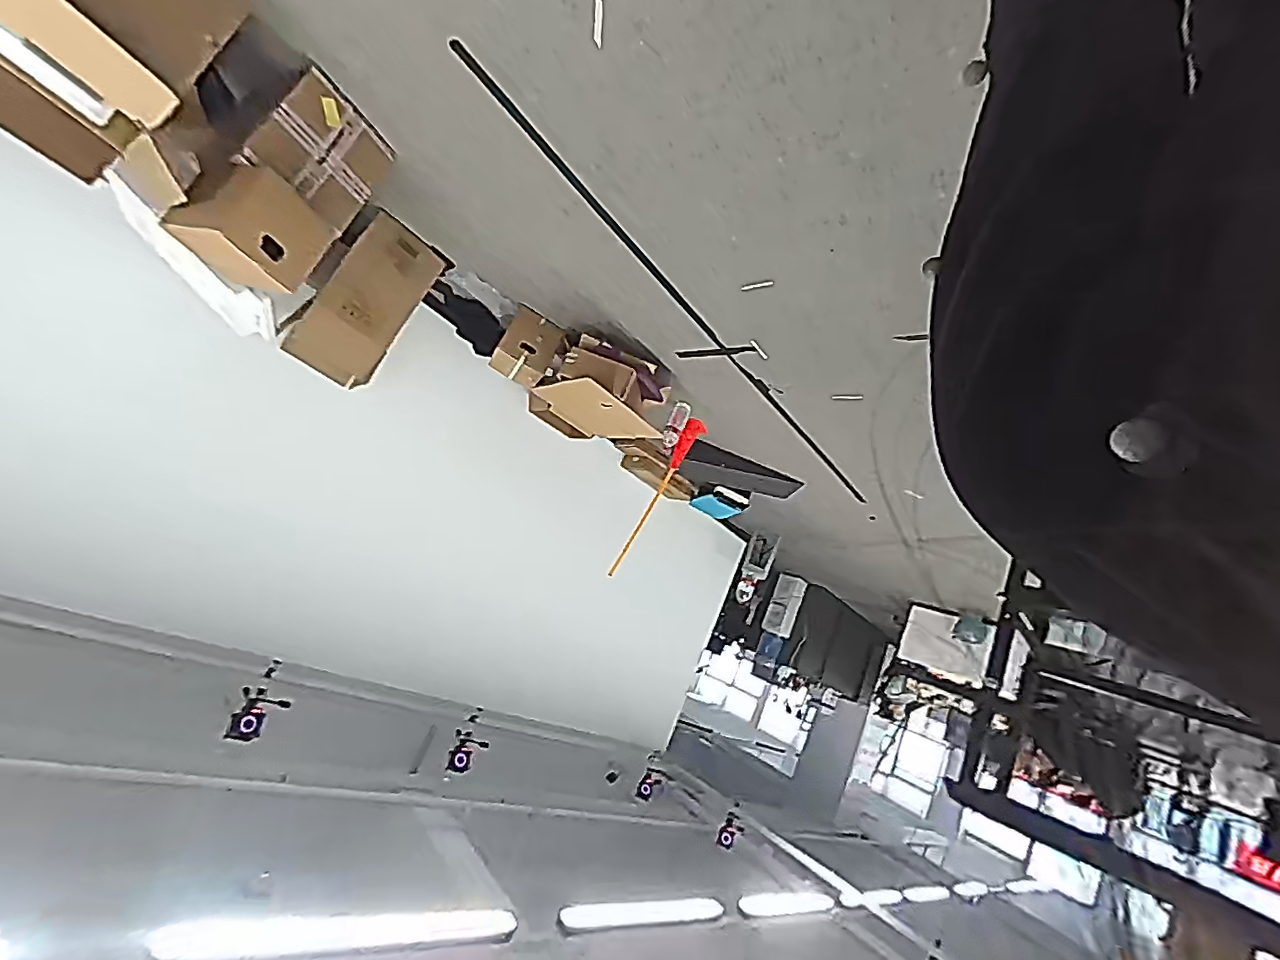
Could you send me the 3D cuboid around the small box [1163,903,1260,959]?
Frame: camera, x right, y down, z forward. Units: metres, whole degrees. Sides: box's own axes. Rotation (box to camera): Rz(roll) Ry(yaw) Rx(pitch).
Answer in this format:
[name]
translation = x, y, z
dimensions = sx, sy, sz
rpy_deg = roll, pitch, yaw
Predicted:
[small box]
translation = 1.547, 1.293, 1.468
dimensions = 0.168, 0.176, 0.179
rpy_deg = 10, 162, 48
